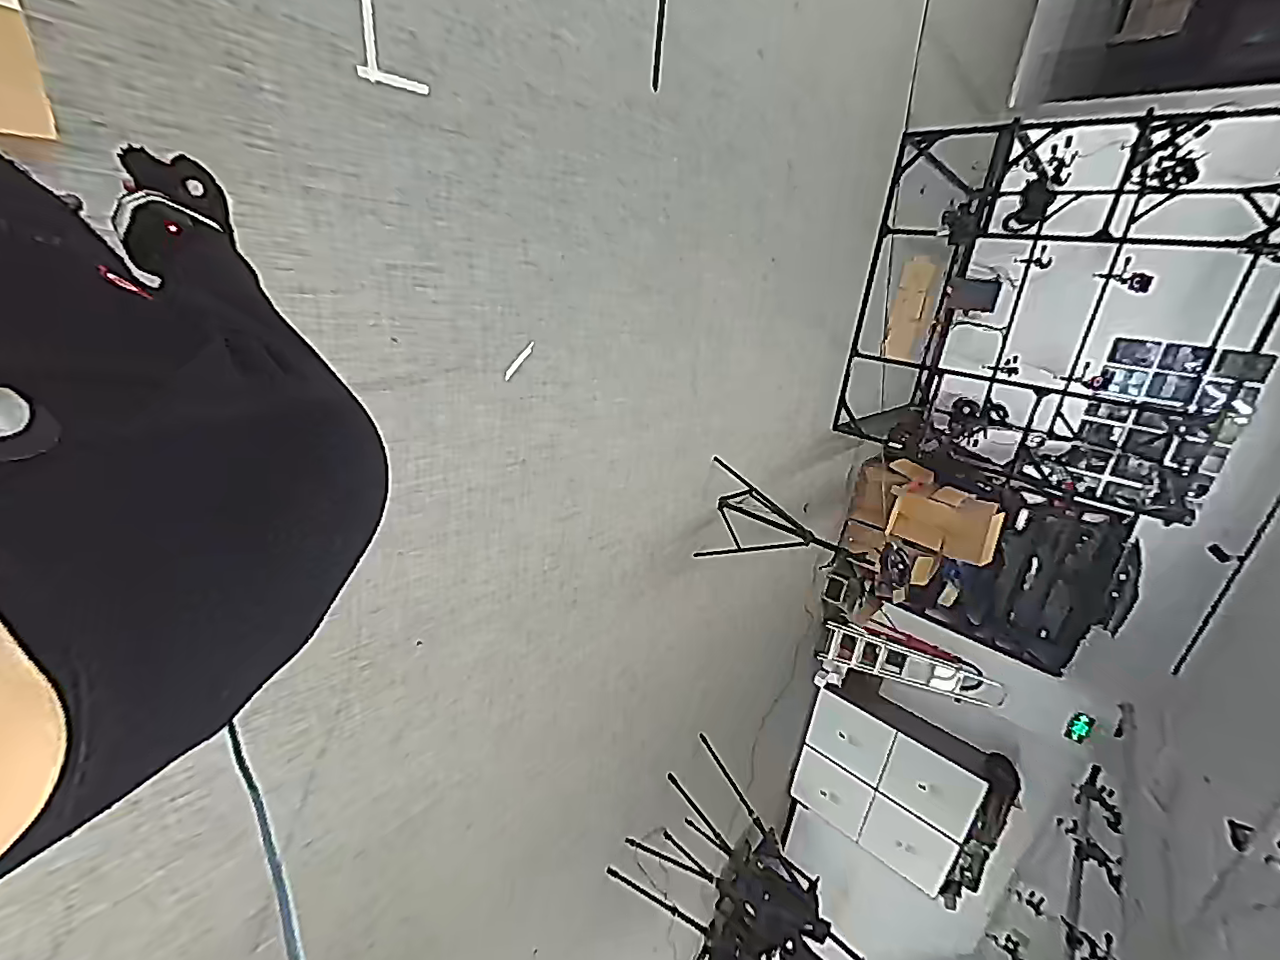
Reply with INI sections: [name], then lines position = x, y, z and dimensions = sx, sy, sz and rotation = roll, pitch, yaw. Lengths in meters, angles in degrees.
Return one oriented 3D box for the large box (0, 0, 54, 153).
[large box]
position = -1.060, -0.617, 0.654
dimensions = 0.408, 0.320, 0.320
rotation = -21, 122, -46
